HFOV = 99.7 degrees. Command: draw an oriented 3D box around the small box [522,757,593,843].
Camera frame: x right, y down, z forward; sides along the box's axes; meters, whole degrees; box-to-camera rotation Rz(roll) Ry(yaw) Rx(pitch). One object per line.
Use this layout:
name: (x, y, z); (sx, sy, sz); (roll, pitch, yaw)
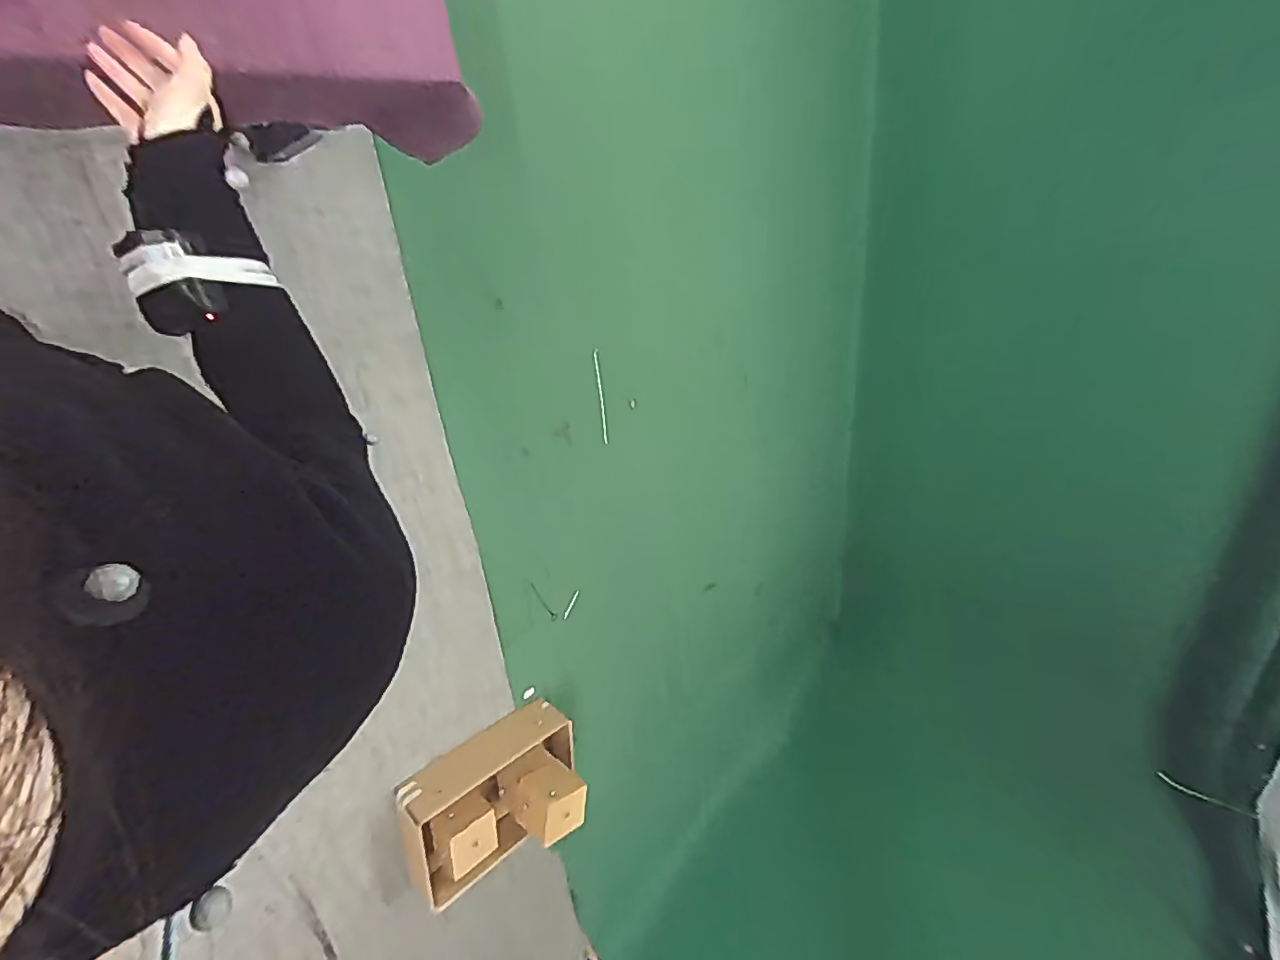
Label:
small box: (-0.293, 1.124, 1.920); (0.179, 0.176, 0.168); (-4, 105, -45)
